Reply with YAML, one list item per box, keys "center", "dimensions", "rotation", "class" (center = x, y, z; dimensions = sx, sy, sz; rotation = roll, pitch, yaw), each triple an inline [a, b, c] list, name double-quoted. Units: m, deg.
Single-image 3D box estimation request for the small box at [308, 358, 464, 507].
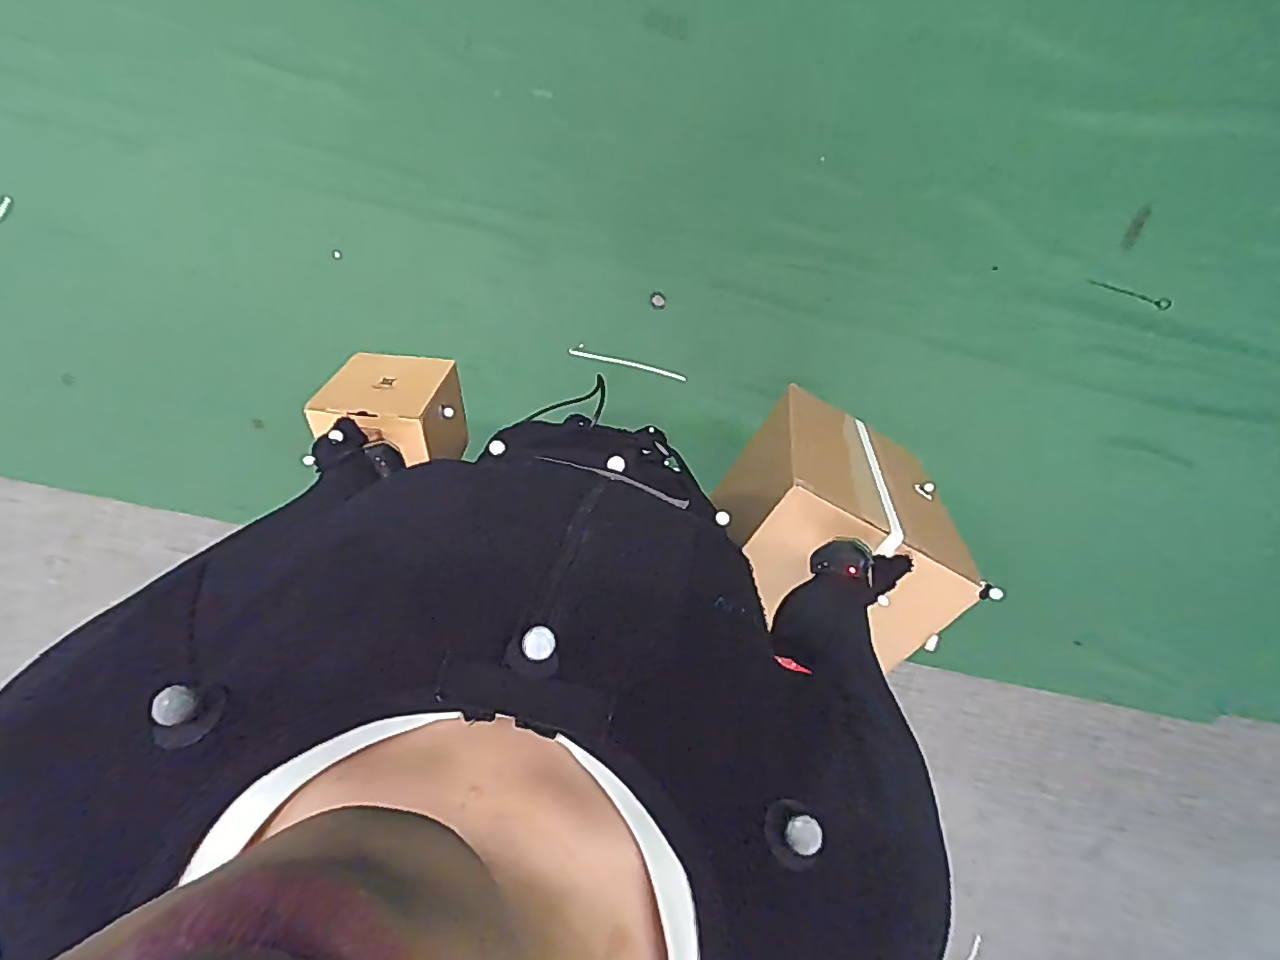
- center: [-0.398, -0.080, 0.888]
  dimensions: [0.168, 0.179, 0.176]
  rotation: [4, 130, -1]
  class: "small box"
